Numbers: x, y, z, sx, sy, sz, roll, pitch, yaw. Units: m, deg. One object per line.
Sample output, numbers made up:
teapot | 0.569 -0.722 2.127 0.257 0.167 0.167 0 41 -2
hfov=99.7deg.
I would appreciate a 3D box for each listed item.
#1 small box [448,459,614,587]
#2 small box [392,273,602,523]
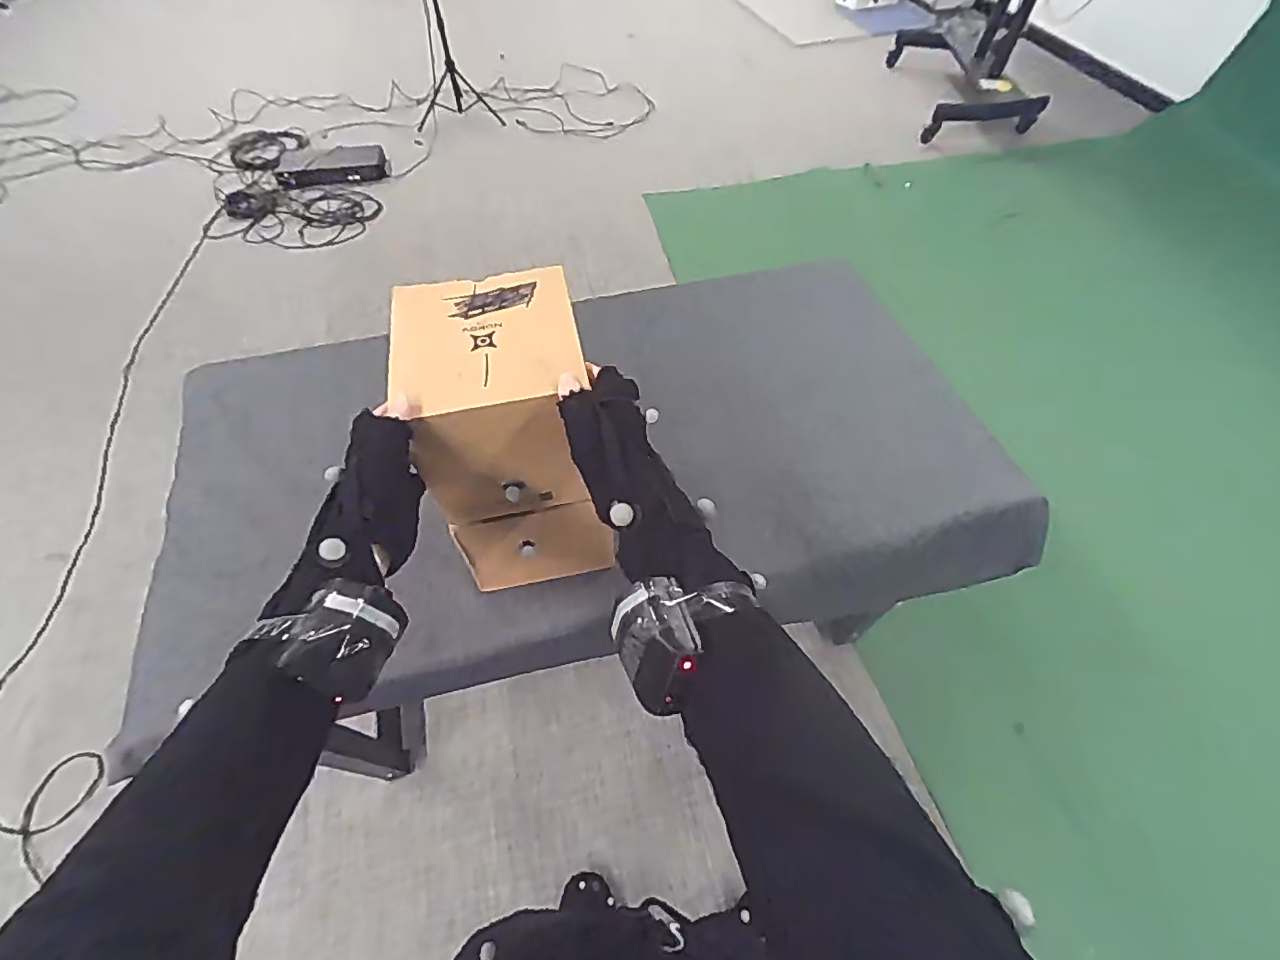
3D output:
small box | -0.134 0.020 0.690 0.179 0.176 0.168 -10 56 -8
small box | -0.135 -0.081 0.553 0.168 0.176 0.179 -10 56 -6
